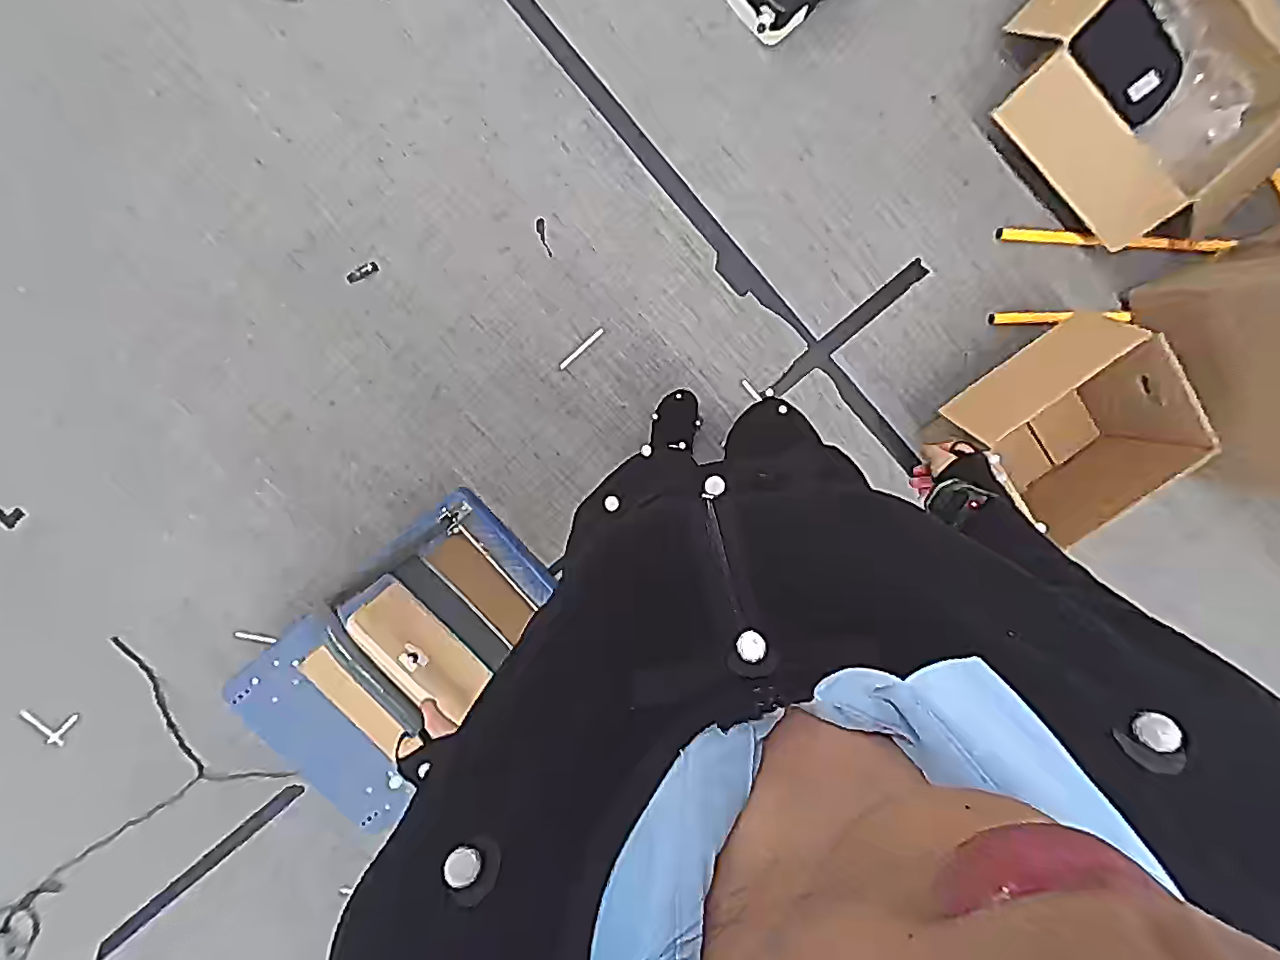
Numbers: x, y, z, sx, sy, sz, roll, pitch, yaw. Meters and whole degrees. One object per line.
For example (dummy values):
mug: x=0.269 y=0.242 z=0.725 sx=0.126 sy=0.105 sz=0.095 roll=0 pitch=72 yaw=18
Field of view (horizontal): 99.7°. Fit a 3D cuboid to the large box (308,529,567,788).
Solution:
large box: x=-0.428 y=0.388 z=1.247 sx=0.320 sy=0.320 sz=0.408 roll=-40 pitch=97 yaw=7
